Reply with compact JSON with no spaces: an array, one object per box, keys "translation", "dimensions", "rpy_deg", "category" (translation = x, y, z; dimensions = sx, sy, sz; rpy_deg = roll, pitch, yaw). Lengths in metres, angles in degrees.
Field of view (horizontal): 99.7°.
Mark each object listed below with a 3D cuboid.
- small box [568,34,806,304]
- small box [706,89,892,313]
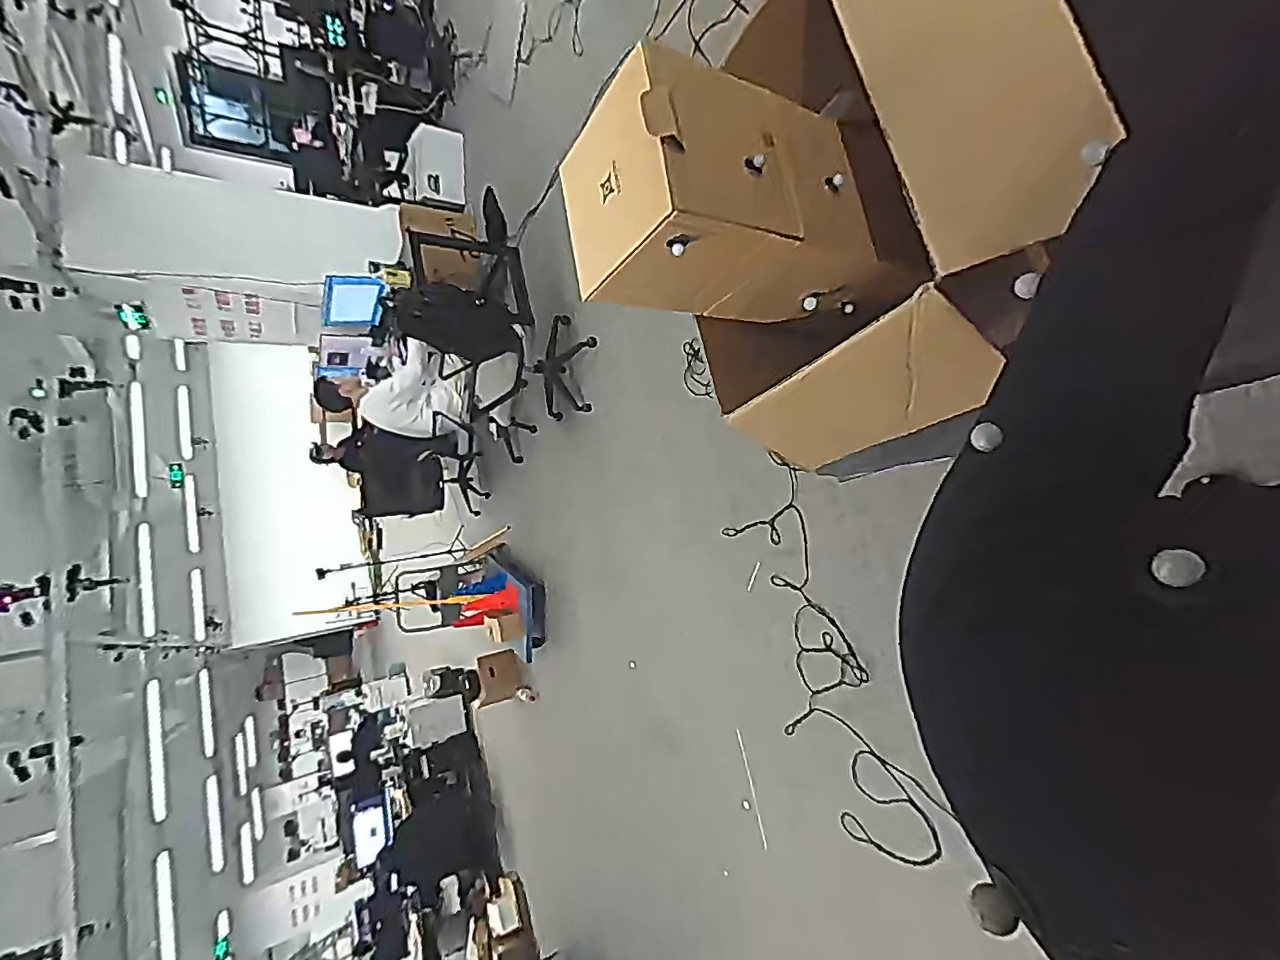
[{"translation":[0.045,-0.305,0.580],"dimensions":[0.179,0.176,0.168],"rpy_deg":[-19,80,55],"category":"small box"},{"translation":[0.178,-0.324,0.670],"dimensions":[0.168,0.176,0.179],"rpy_deg":[-21,80,55],"category":"small box"}]
